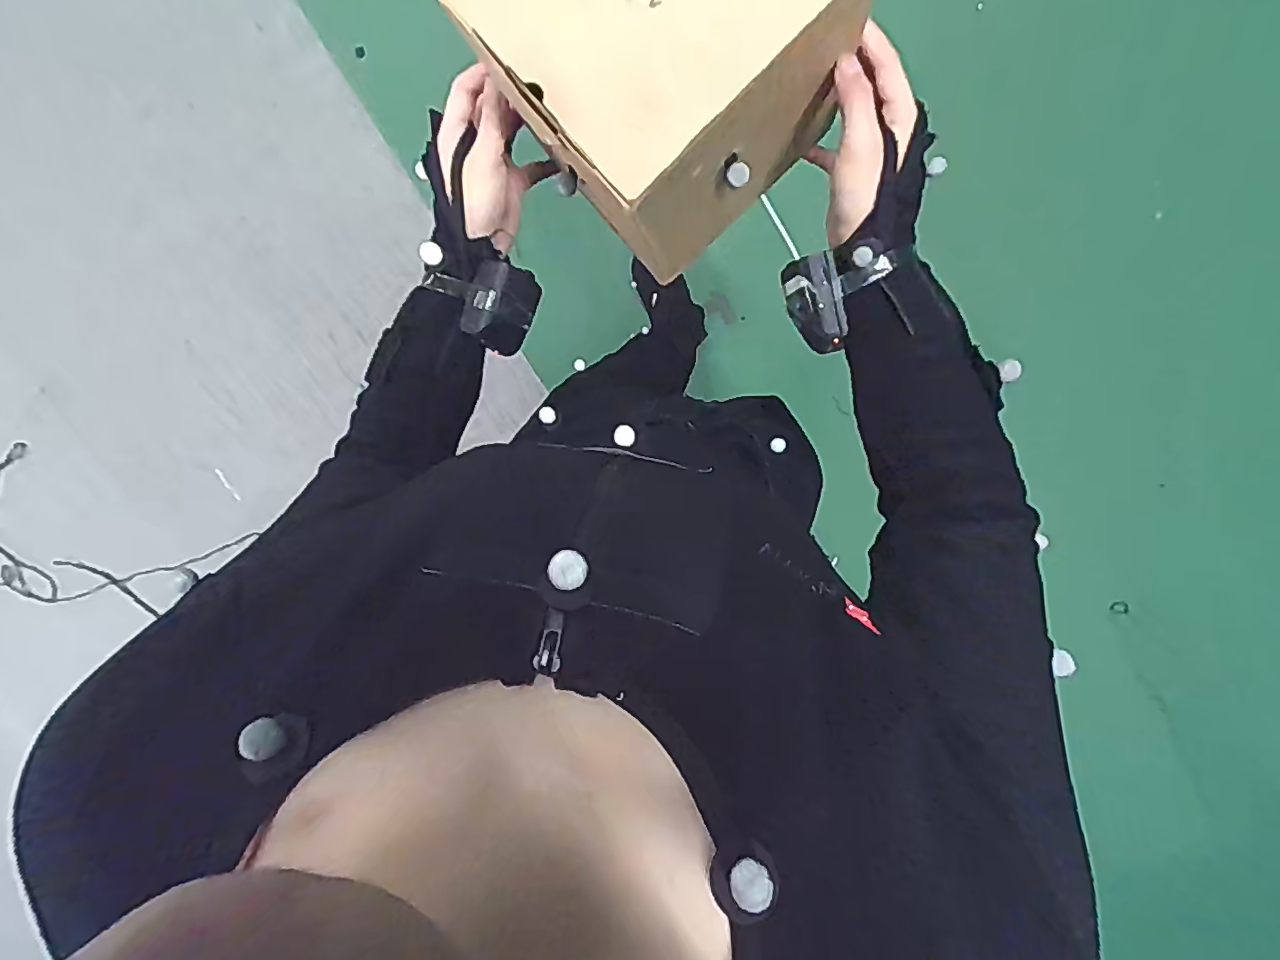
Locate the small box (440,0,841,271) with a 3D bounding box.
[{"bbox_3d":[0.013,-0.276,0.367,0.179,0.176,0.168,-41,87,11],"label":"small box"}]
